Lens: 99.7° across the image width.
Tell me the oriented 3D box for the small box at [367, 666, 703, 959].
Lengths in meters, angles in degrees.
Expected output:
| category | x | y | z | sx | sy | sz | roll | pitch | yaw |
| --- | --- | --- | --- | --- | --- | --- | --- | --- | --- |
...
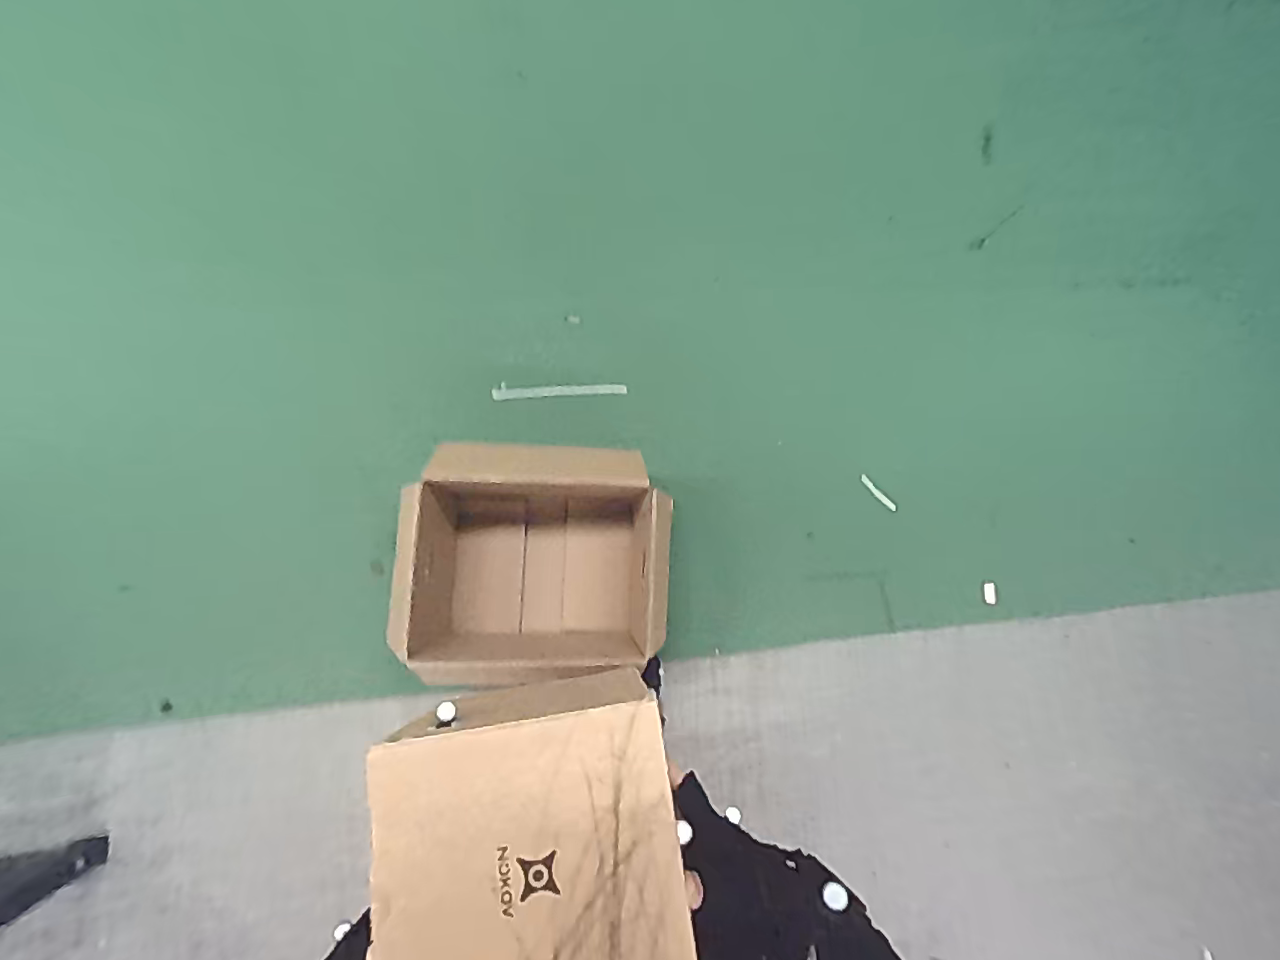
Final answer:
| category | x | y | z | sx | sy | sz | roll | pitch | yaw |
| --- | --- | --- | --- | --- | --- | --- | --- | --- | --- |
| small box | -0.065 | 0.235 | 0.379 | 0.179 | 0.176 | 0.168 | -7 | 78 | -5 |
